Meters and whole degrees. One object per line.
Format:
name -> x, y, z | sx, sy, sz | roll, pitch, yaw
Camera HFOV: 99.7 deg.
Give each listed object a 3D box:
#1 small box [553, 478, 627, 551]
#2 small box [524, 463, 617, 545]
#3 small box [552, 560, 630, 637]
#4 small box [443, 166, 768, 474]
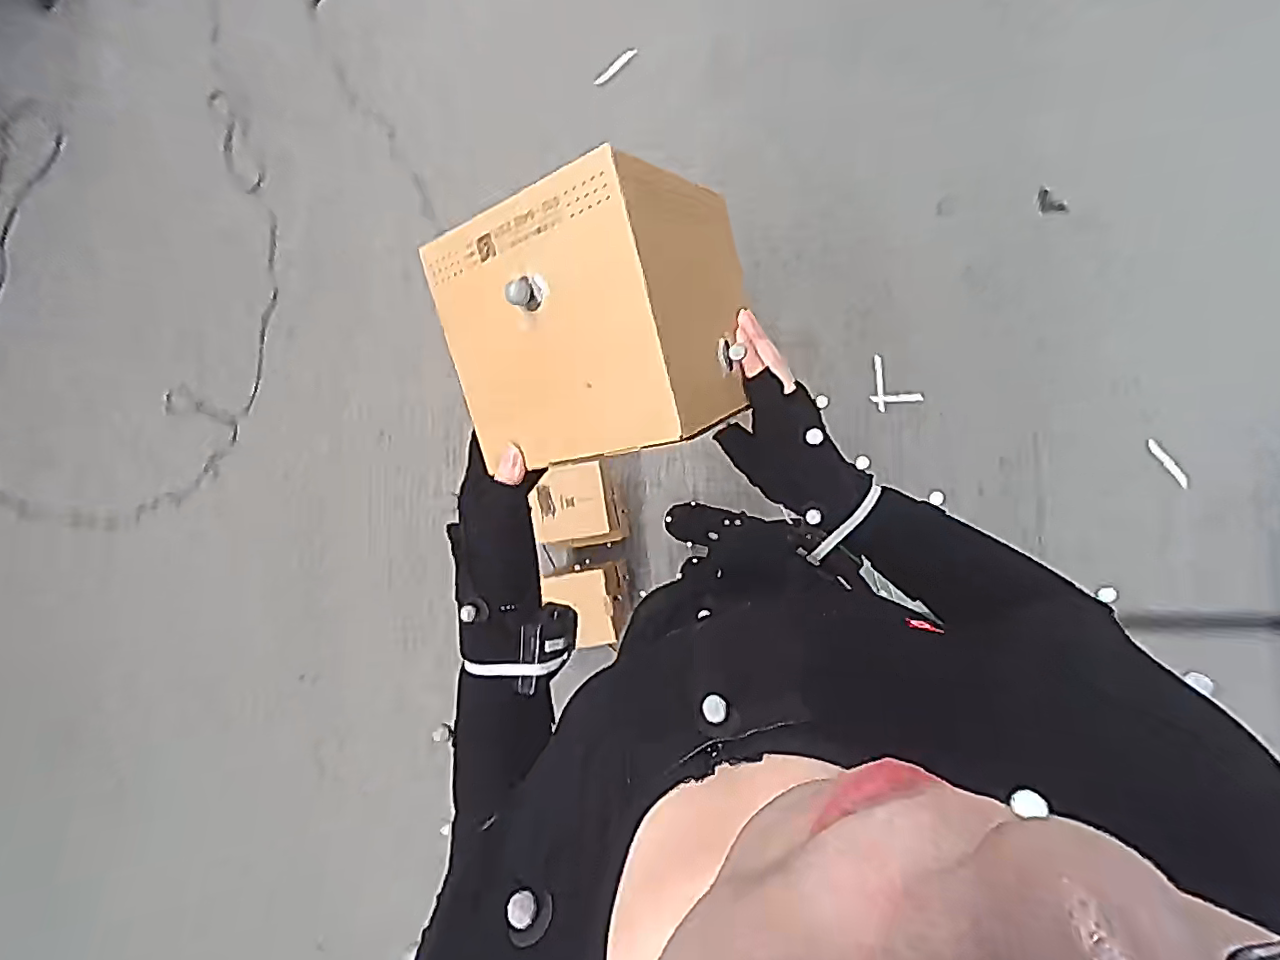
small box -> -0.139, 0.093, 1.452 | 0.179, 0.176, 0.168 | -11, 87, 4
small box -> -0.160, 0.060, 1.290 | 0.179, 0.176, 0.168 | -10, 87, 3
small box -> -0.124, 0.309, 1.442 | 0.179, 0.176, 0.168 | -7, 86, 5
small box -> -0.015, -0.114, 0.418 | 0.168, 0.179, 0.176 | -8, 101, 32
